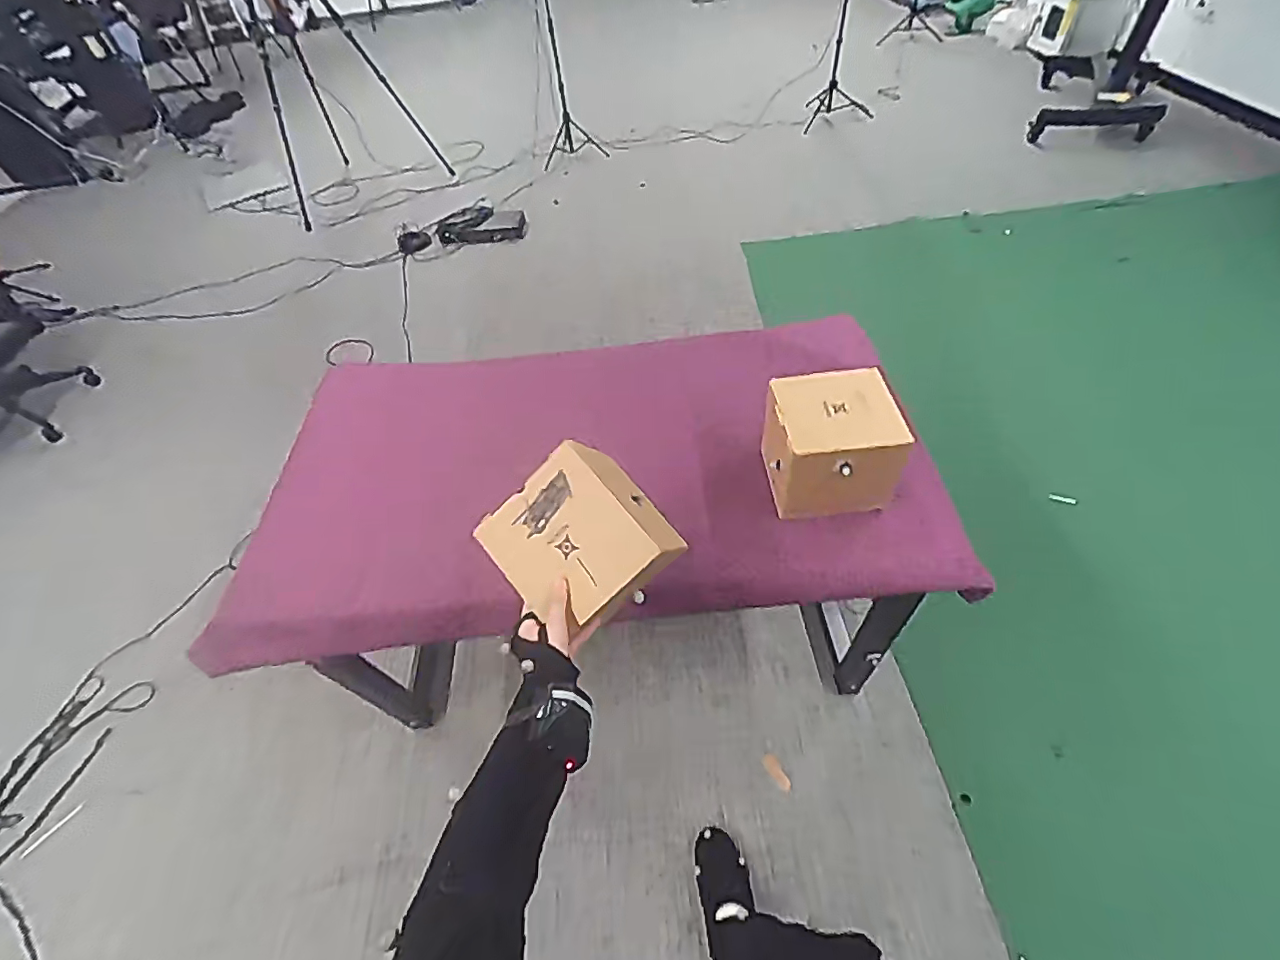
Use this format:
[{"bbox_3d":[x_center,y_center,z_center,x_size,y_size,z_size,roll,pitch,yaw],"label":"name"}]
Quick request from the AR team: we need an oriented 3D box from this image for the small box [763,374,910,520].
[{"bbox_3d":[0.300,-0.049,0.875,0.179,0.176,0.168,-5,50,2],"label":"small box"}]

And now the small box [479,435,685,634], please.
[{"bbox_3d":[-0.065,0.071,0.703,0.168,0.176,0.179,-41,75,7],"label":"small box"}]
